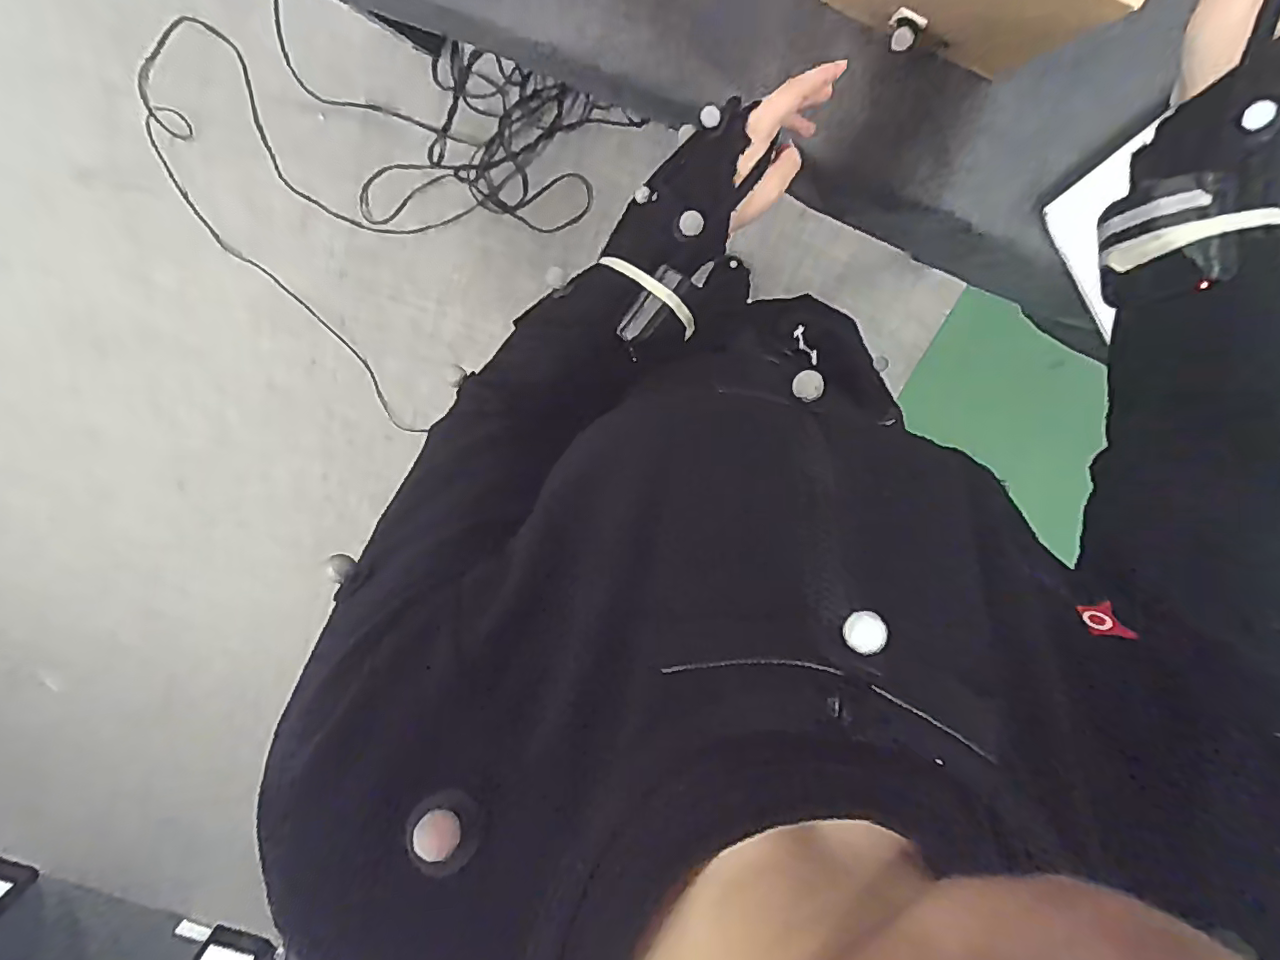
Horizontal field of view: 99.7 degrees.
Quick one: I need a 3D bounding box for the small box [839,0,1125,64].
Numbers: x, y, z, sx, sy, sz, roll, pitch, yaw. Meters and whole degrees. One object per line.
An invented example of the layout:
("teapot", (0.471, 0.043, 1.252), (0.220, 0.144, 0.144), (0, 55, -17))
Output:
("small box", (0.245, -0.408, 0.337), (0.168, 0.176, 0.179), (20, 116, -2))
